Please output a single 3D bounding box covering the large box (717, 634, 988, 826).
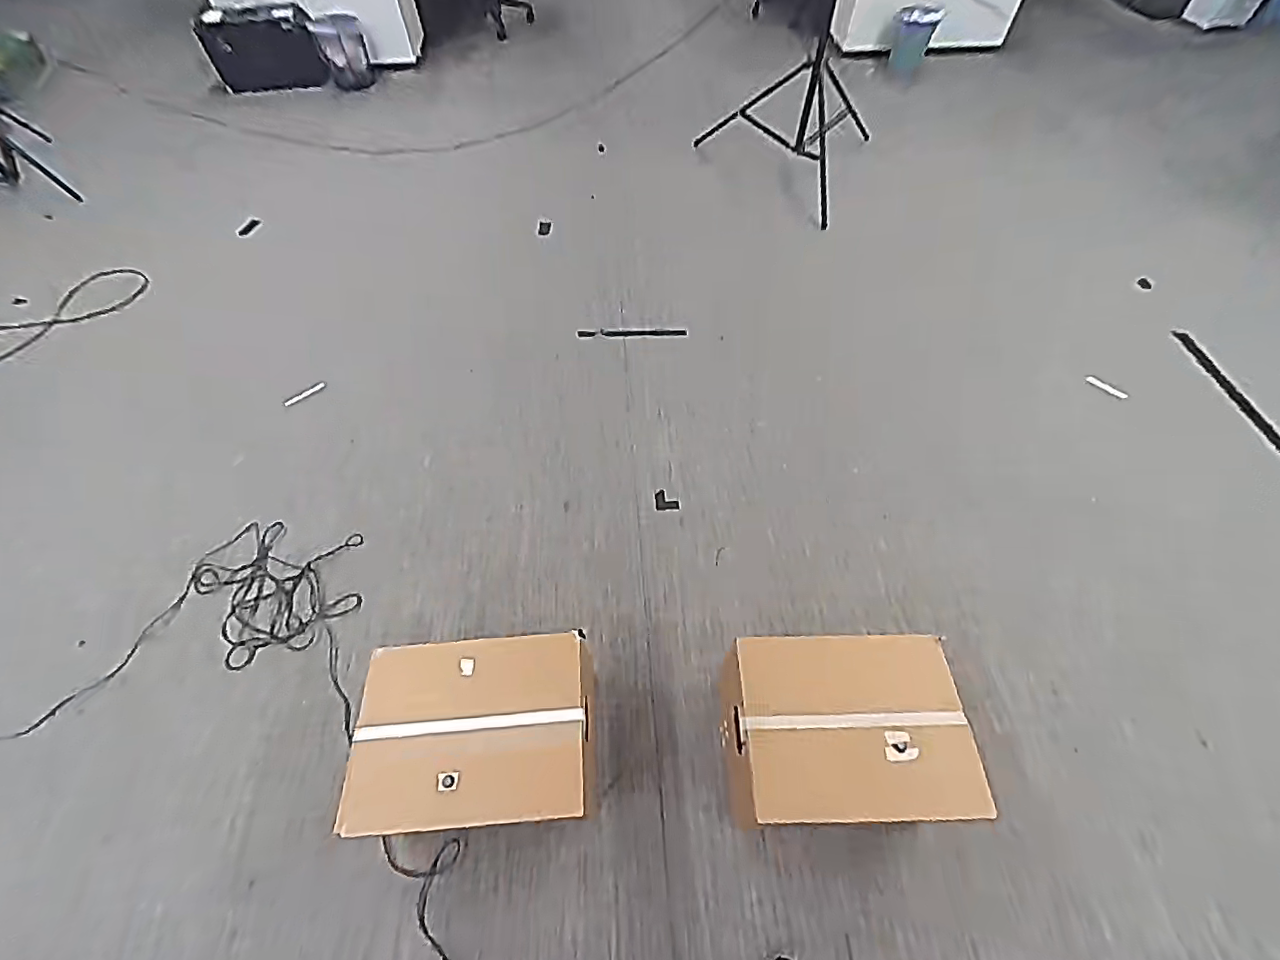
[{"bbox_3d":[0.389,0.521,1.116,0.408,0.320,0.320,0,56,-1],"label":"large box"}]
